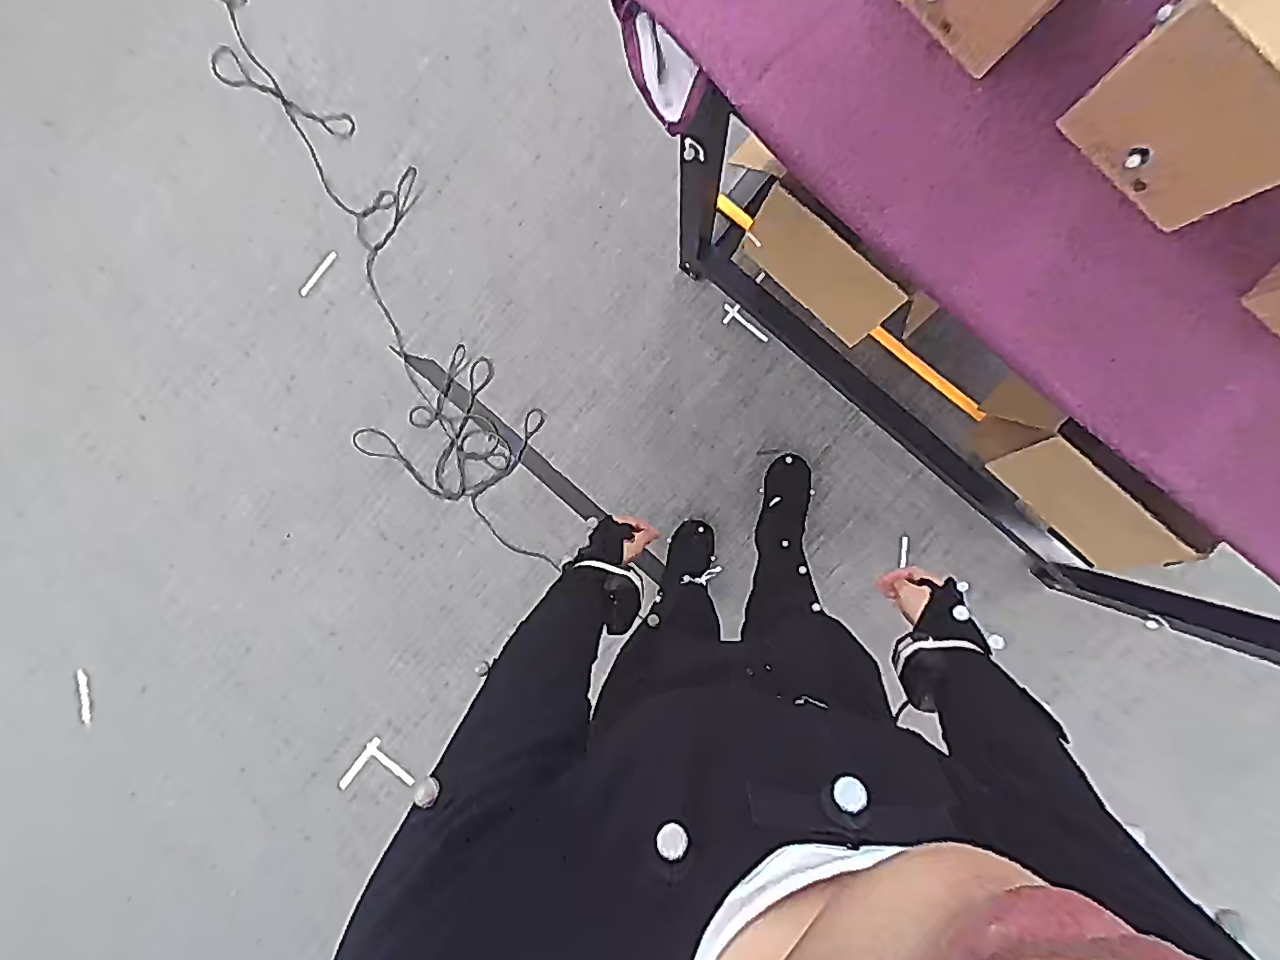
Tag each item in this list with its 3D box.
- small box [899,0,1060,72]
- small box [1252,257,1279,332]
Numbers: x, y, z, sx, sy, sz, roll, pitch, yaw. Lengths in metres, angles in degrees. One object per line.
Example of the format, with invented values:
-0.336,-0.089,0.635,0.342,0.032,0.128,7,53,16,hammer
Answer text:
0.357,-0.538,0.487,0.179,0.176,0.168,-44,89,6,small box
0.740,-0.197,0.479,0.168,0.176,0.179,44,94,2,small box
